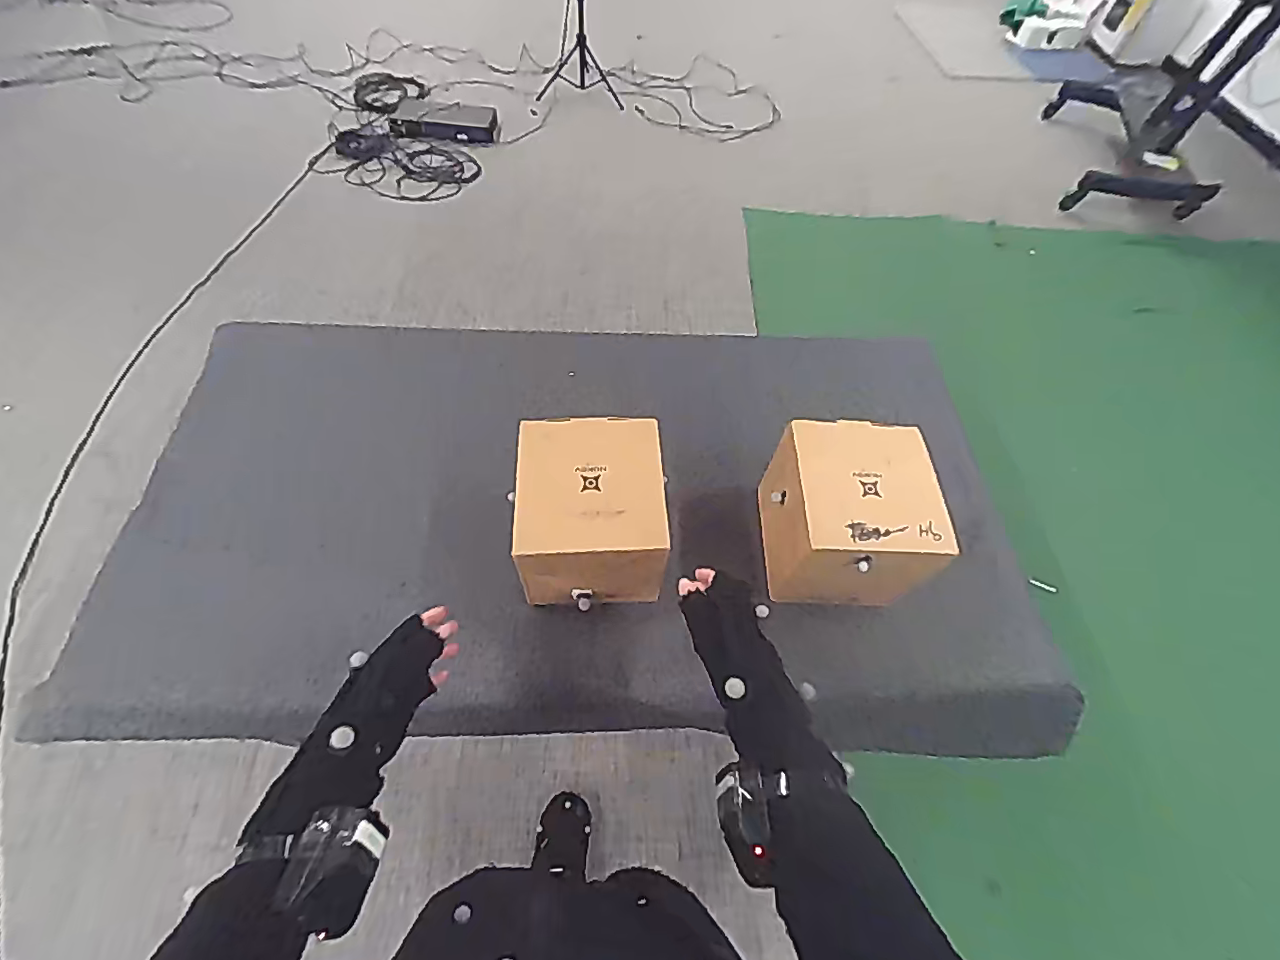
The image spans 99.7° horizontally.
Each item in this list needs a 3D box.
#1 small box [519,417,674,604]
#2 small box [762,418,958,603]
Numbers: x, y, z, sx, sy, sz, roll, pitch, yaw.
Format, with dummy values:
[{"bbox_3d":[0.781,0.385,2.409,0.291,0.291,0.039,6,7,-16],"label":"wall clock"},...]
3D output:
[{"bbox_3d":[-0.054,0.041,0.676,0.168,0.176,0.179,-3,59,-4],"label":"small box"},{"bbox_3d":[0.261,0.042,0.694,0.168,0.176,0.179,2,58,-2],"label":"small box"}]
